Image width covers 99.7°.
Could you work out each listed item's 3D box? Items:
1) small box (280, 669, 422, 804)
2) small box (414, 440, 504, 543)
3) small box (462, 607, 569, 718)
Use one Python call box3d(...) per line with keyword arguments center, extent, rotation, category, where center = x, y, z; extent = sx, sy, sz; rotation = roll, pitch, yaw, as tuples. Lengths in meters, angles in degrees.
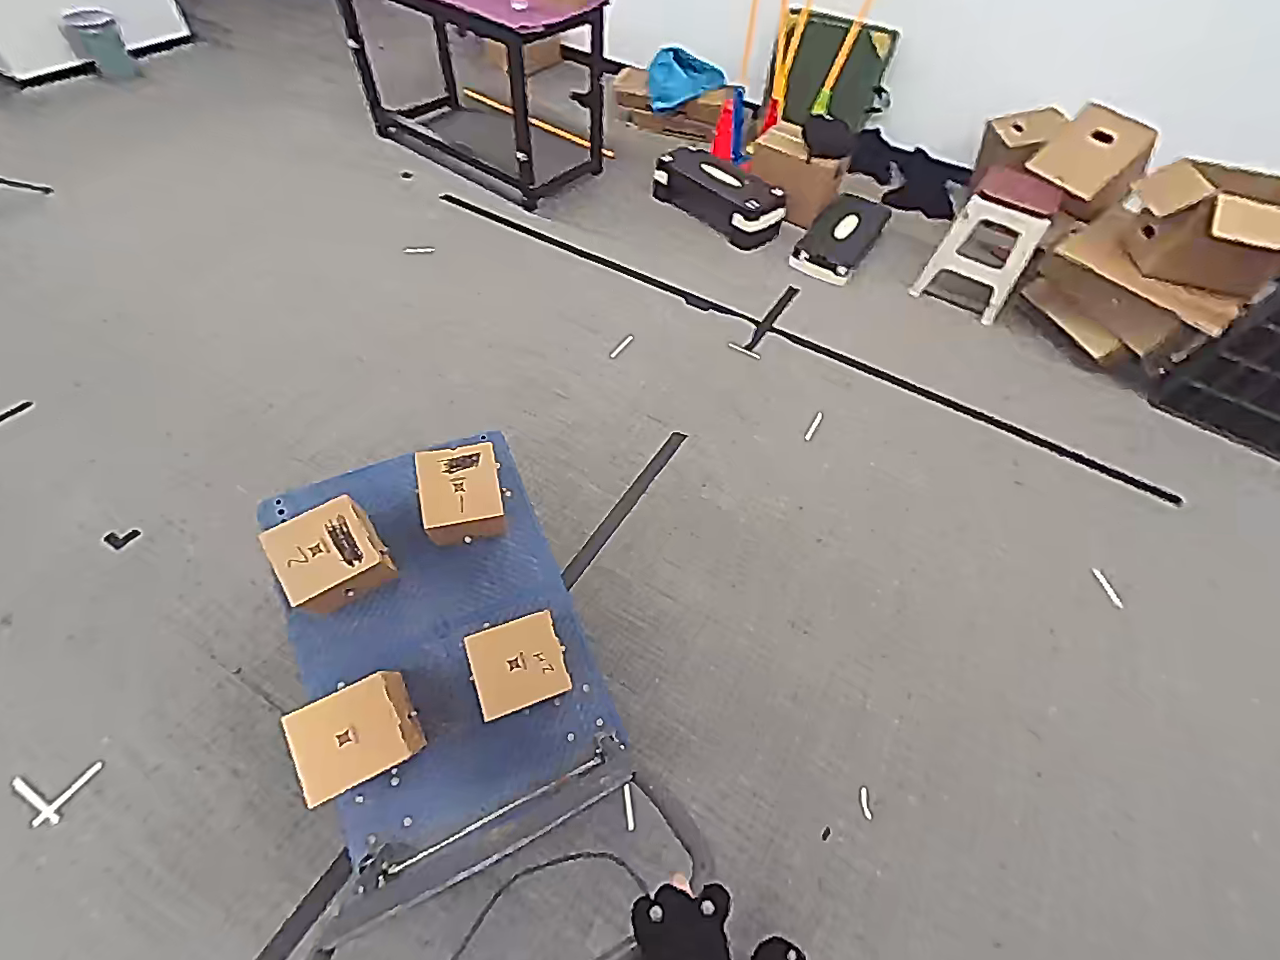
box3d(center=(-0.543, 0.482, 1.038), extent=(0.179, 0.176, 0.168), rotation=(-23, 77, -20), category="small box")
box3d(center=(-0.407, 0.030, 1.231), extent=(0.168, 0.176, 0.179), rotation=(-10, 74, -15), category="small box")
box3d(center=(-0.258, 0.382, 1.134), extent=(0.179, 0.176, 0.168), rotation=(-16, 75, -17), category="small box")
